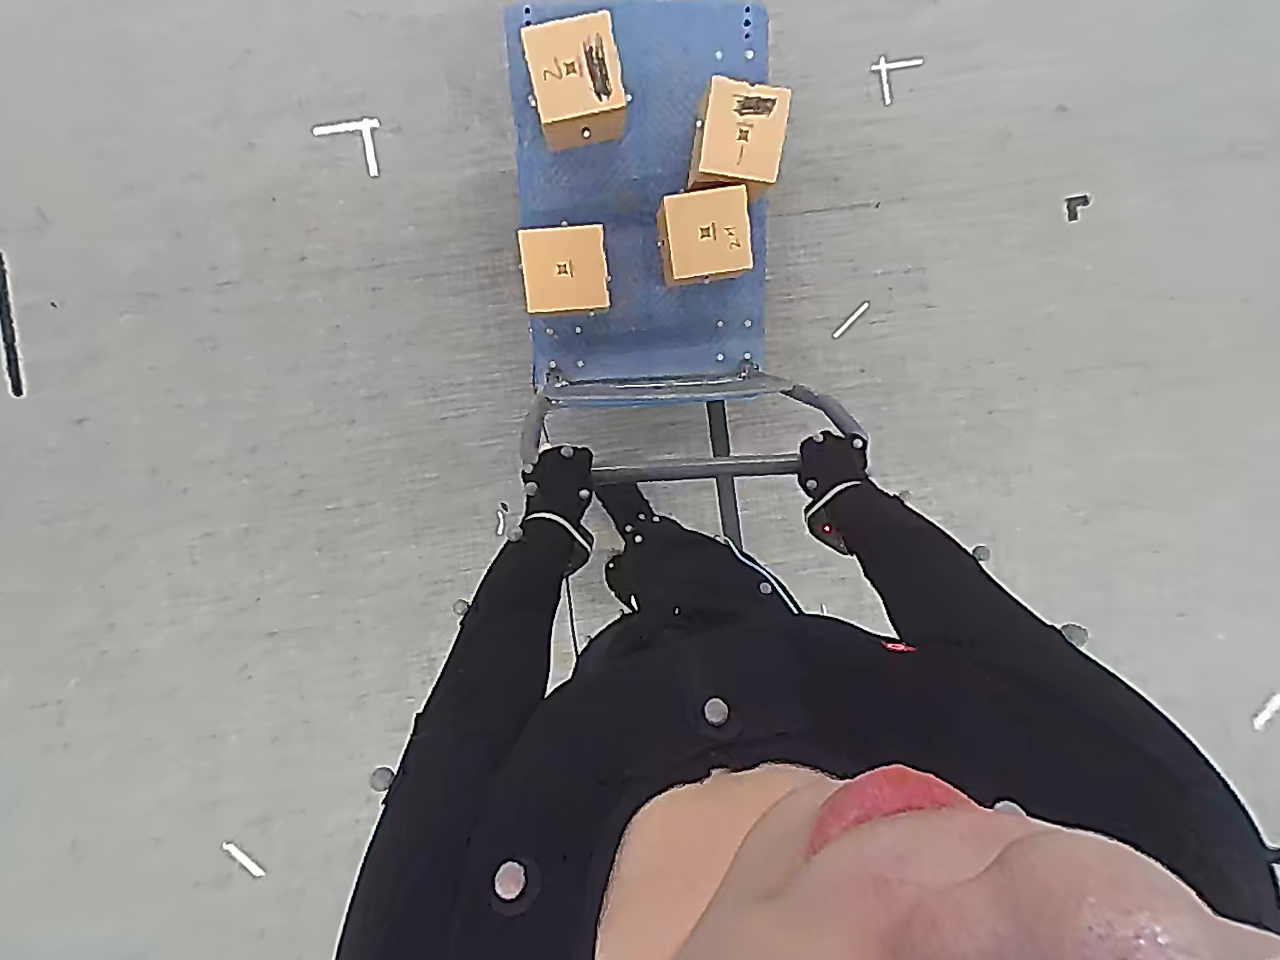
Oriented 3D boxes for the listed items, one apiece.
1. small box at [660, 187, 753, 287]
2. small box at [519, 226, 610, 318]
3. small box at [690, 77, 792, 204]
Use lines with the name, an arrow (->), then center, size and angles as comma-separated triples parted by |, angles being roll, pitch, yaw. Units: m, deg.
small box -> 0.141, -0.533, 1.209 | 0.179, 0.176, 0.168 | -9, 105, -1
small box -> -0.162, -0.458, 1.209 | 0.179, 0.176, 0.168 | -6, 104, -4
small box -> 0.208, -0.720, 1.166 | 0.168, 0.176, 0.179 | 7, 104, -5
